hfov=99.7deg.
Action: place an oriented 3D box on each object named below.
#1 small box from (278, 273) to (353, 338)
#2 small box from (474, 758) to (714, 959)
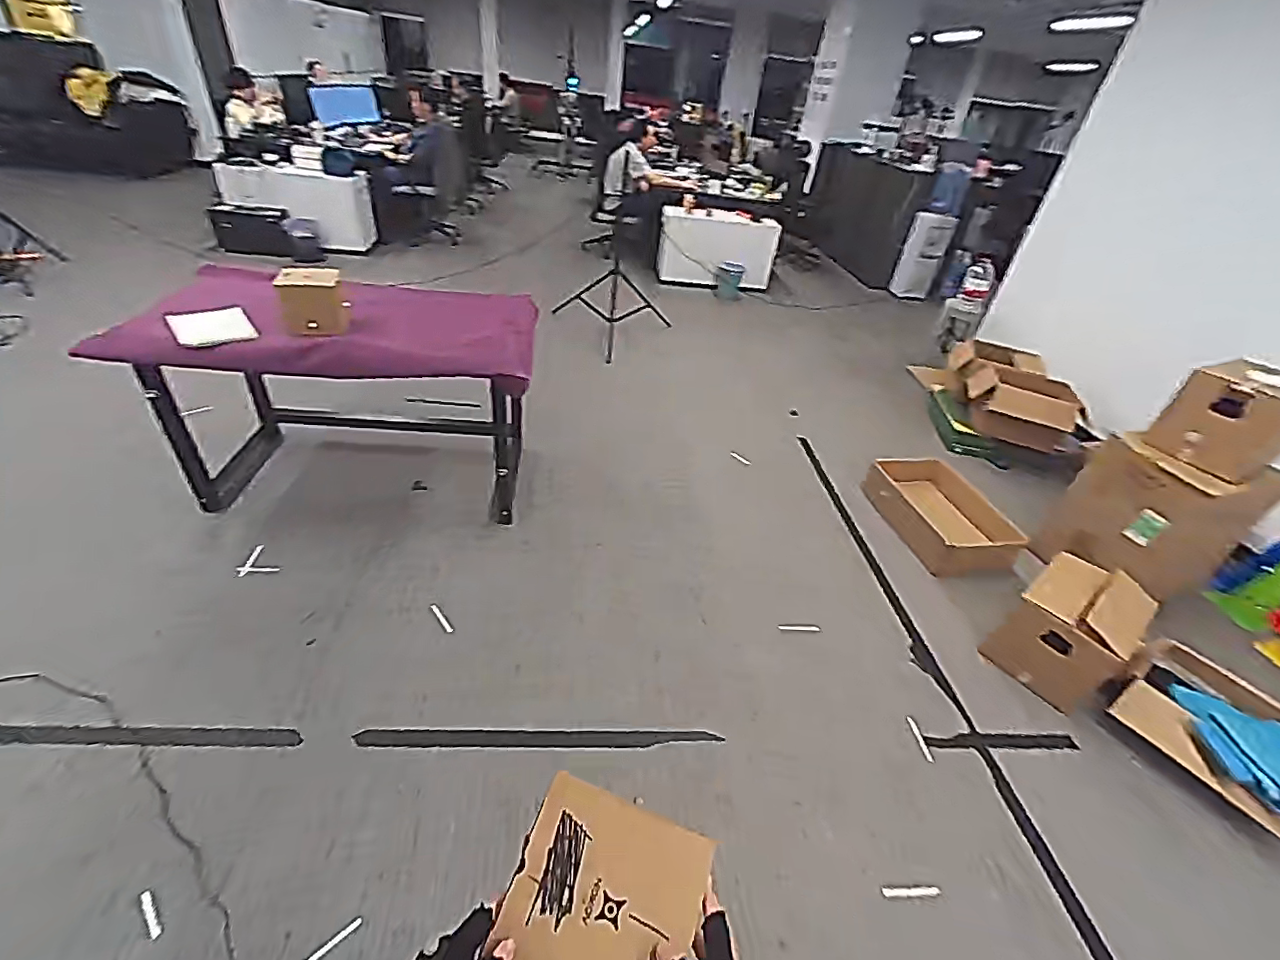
[{"bbox_3d":[-1.093,-0.591,1.839,0.179,0.176,0.168,-4,37,-16],"label":"small box"},{"bbox_3d":[-0.043,0.417,0.558,0.179,0.176,0.168,20,55,7],"label":"small box"}]
